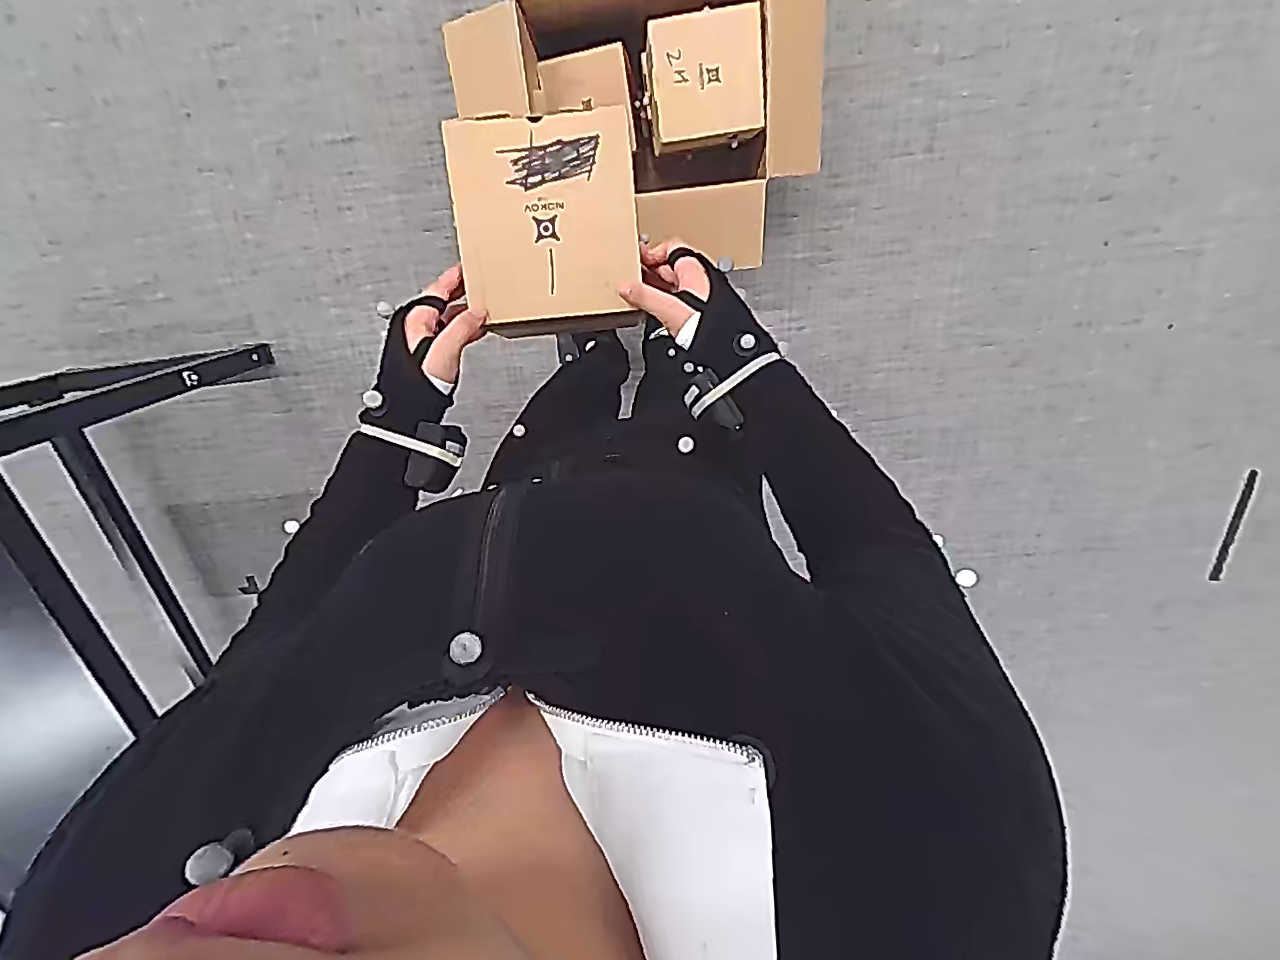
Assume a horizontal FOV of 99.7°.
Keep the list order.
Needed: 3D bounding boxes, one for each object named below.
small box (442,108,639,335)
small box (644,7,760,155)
[{"bbox_3d":[-0.092,-0.255,0.573,0.168,0.176,0.179,-5,102,-1],"label":"small box"},{"bbox_3d":[0.102,-0.676,0.935,0.179,0.176,0.168,-7,114,3],"label":"small box"}]
